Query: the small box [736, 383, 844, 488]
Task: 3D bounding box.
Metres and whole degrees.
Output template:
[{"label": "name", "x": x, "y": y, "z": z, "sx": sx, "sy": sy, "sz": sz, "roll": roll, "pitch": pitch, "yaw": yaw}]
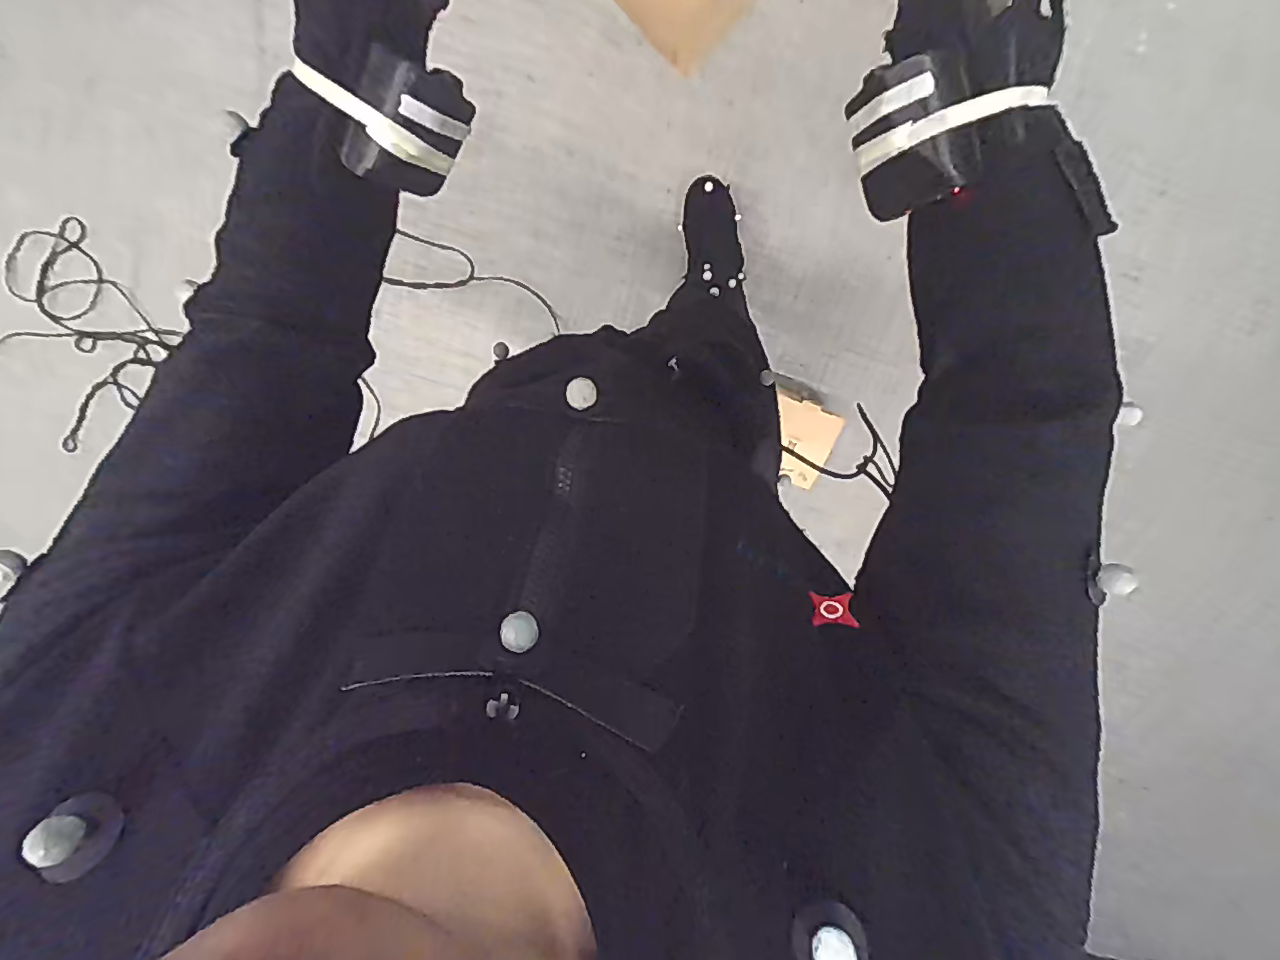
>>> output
[{"label": "small box", "x": 0.335, "y": -0.111, "z": 1.251, "sx": 0.168, "sy": 0.176, "sz": 0.179, "roll": 21, "pitch": 108, "yaw": -5}]
